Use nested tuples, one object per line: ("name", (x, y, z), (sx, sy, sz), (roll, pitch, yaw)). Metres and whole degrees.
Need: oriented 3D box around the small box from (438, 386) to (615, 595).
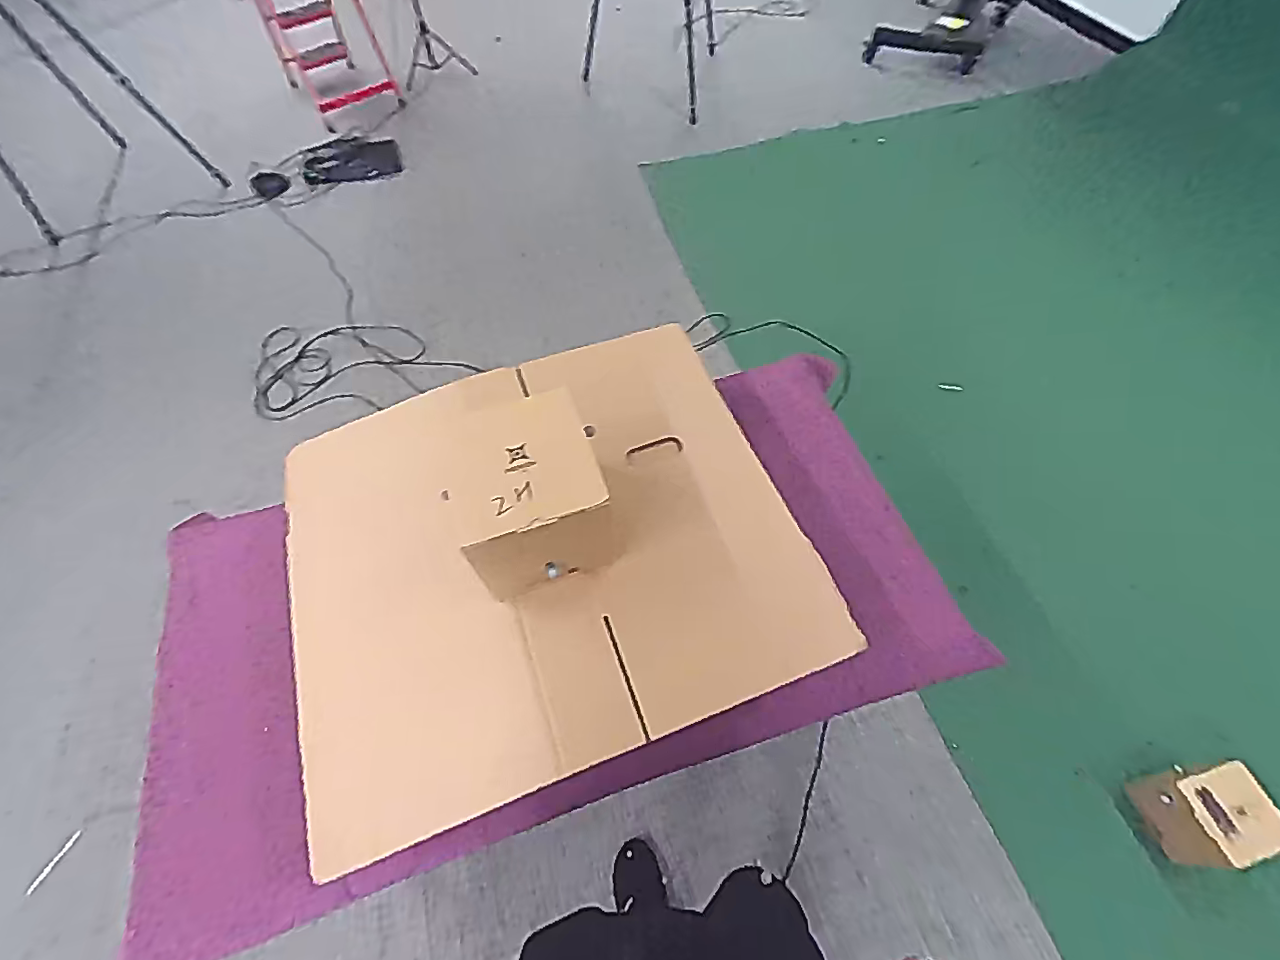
("small box", (-0.135, 0.018, 0.674), (0.168, 0.176, 0.179), (-17, 61, -9))
